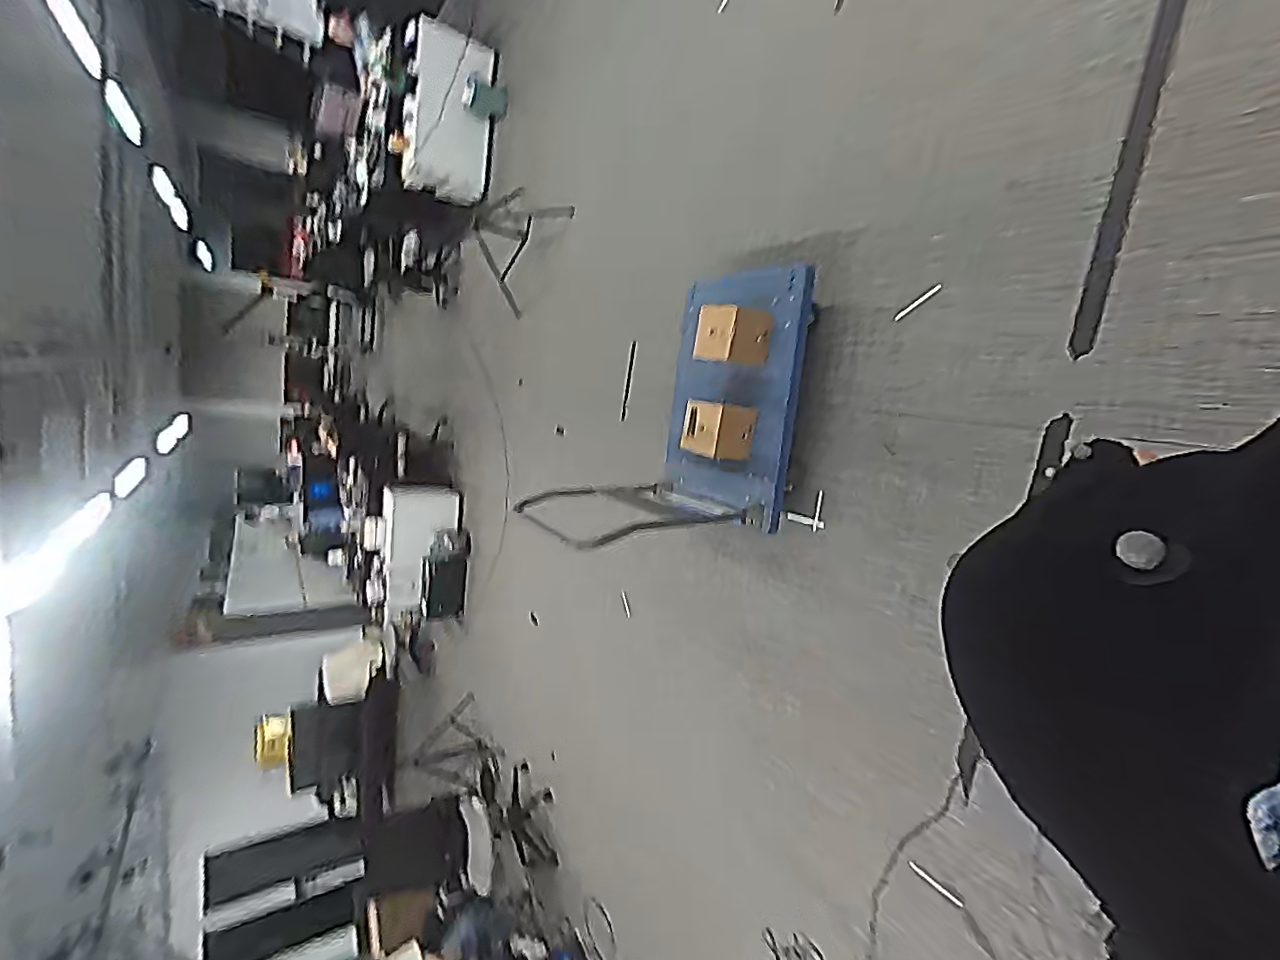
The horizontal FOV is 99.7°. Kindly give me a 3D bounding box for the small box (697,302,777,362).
[{"bbox_3d":[0.315,-0.483,1.767,0.179,0.176,0.168,24,110,52],"label":"small box"}]
